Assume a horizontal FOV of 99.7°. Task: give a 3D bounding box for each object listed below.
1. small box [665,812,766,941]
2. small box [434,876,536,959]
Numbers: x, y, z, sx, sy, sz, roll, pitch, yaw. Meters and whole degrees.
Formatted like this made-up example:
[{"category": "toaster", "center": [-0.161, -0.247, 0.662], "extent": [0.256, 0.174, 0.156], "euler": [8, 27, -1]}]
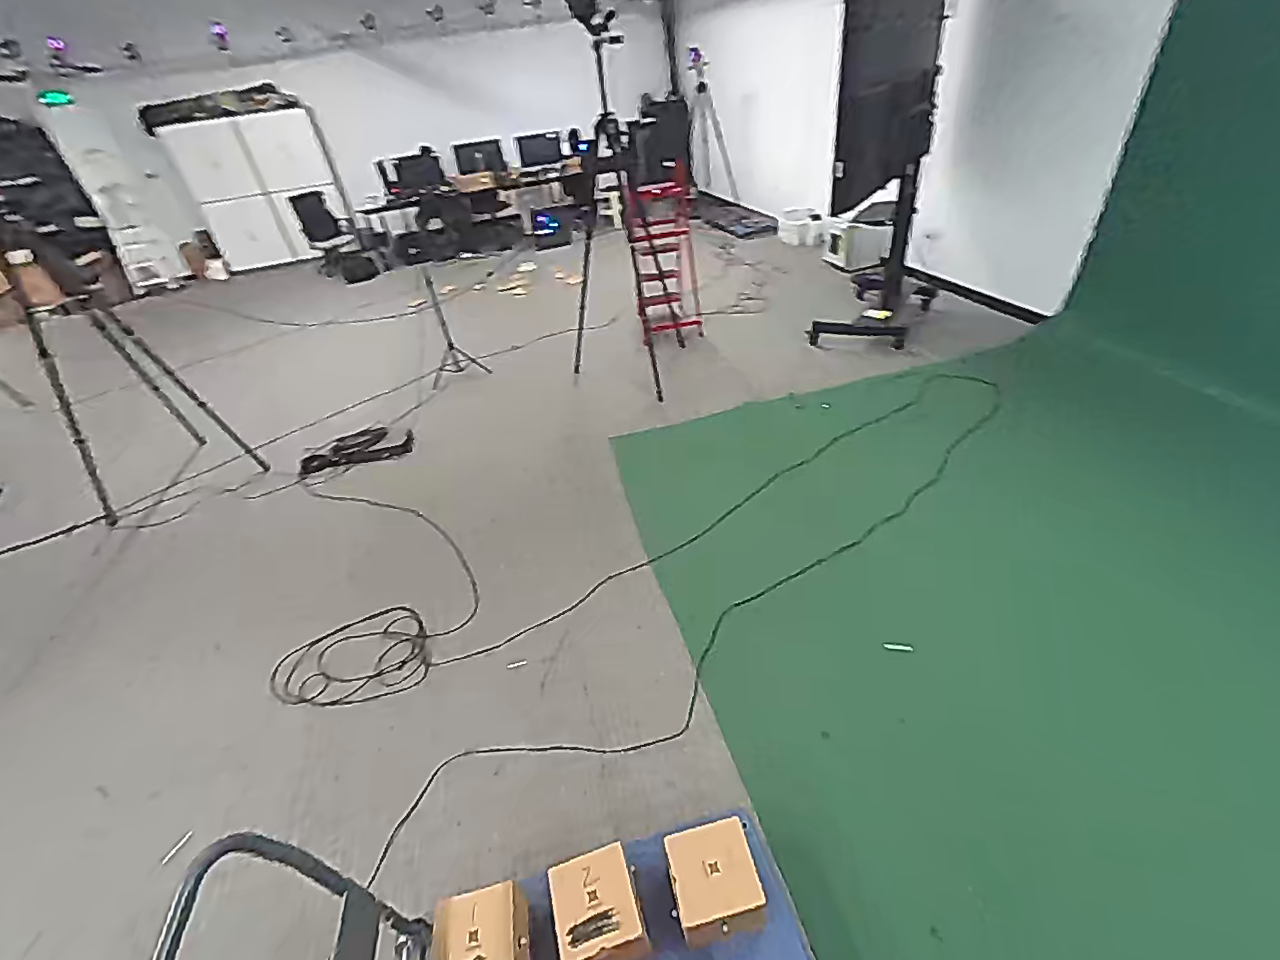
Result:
[{"category": "small box", "center": [0.165, 0.865, 1.177], "extent": [0.179, 0.176, 0.168], "euler": [-13, 38, -5]}, {"category": "small box", "center": [-0.317, 0.976, 1.129], "extent": [0.168, 0.176, 0.179], "euler": [-13, 37, -6]}]
